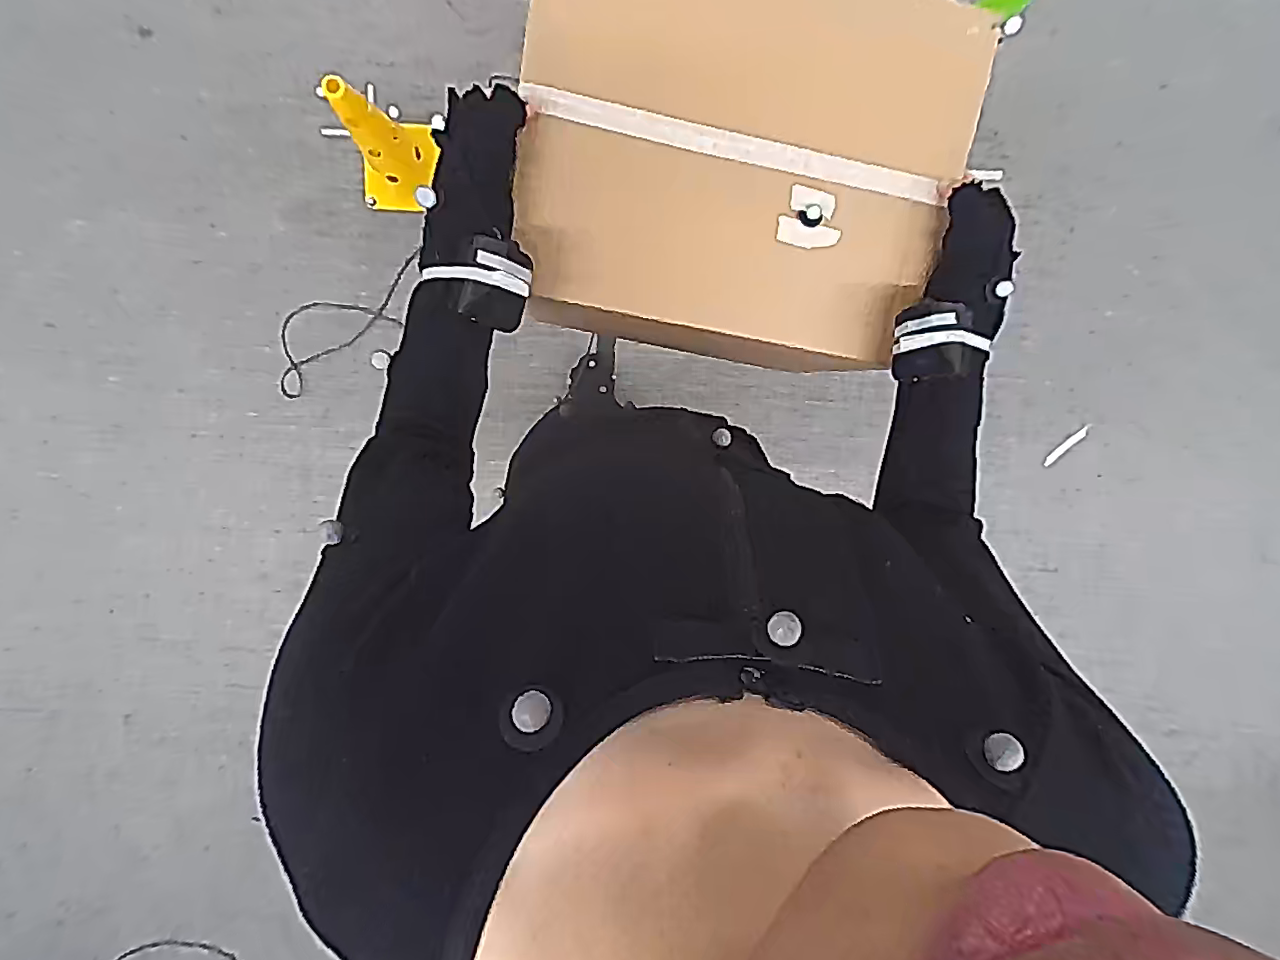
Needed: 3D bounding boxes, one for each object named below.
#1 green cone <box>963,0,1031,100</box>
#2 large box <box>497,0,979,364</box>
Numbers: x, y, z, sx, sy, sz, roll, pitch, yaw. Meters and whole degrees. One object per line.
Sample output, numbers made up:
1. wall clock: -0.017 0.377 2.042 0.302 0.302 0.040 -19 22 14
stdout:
1. green cone: 0.763 -1.006 1.178 0.202 0.368 0.200 -35 100 1
2. large box: 0.072 -0.324 0.629 0.408 0.320 0.320 9 100 -7
